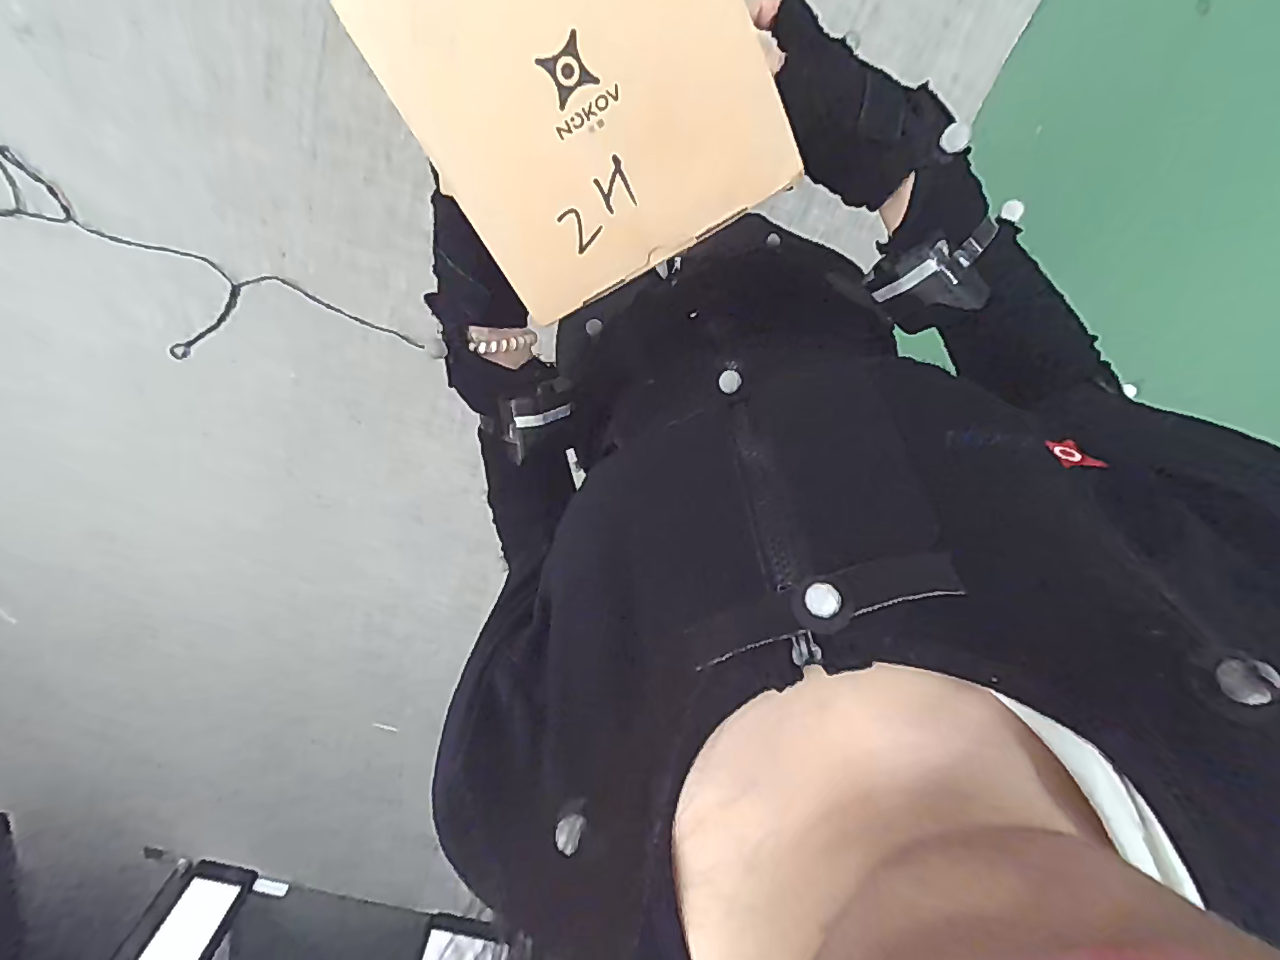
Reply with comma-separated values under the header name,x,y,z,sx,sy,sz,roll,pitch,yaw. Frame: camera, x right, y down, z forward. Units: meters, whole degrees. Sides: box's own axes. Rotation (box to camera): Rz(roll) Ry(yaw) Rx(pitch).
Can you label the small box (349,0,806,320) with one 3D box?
name,x,y,z,sx,sy,sz,roll,pitch,yaw
small box,-0.019,-0.231,0.327,0.168,0.176,0.179,-22,118,21
